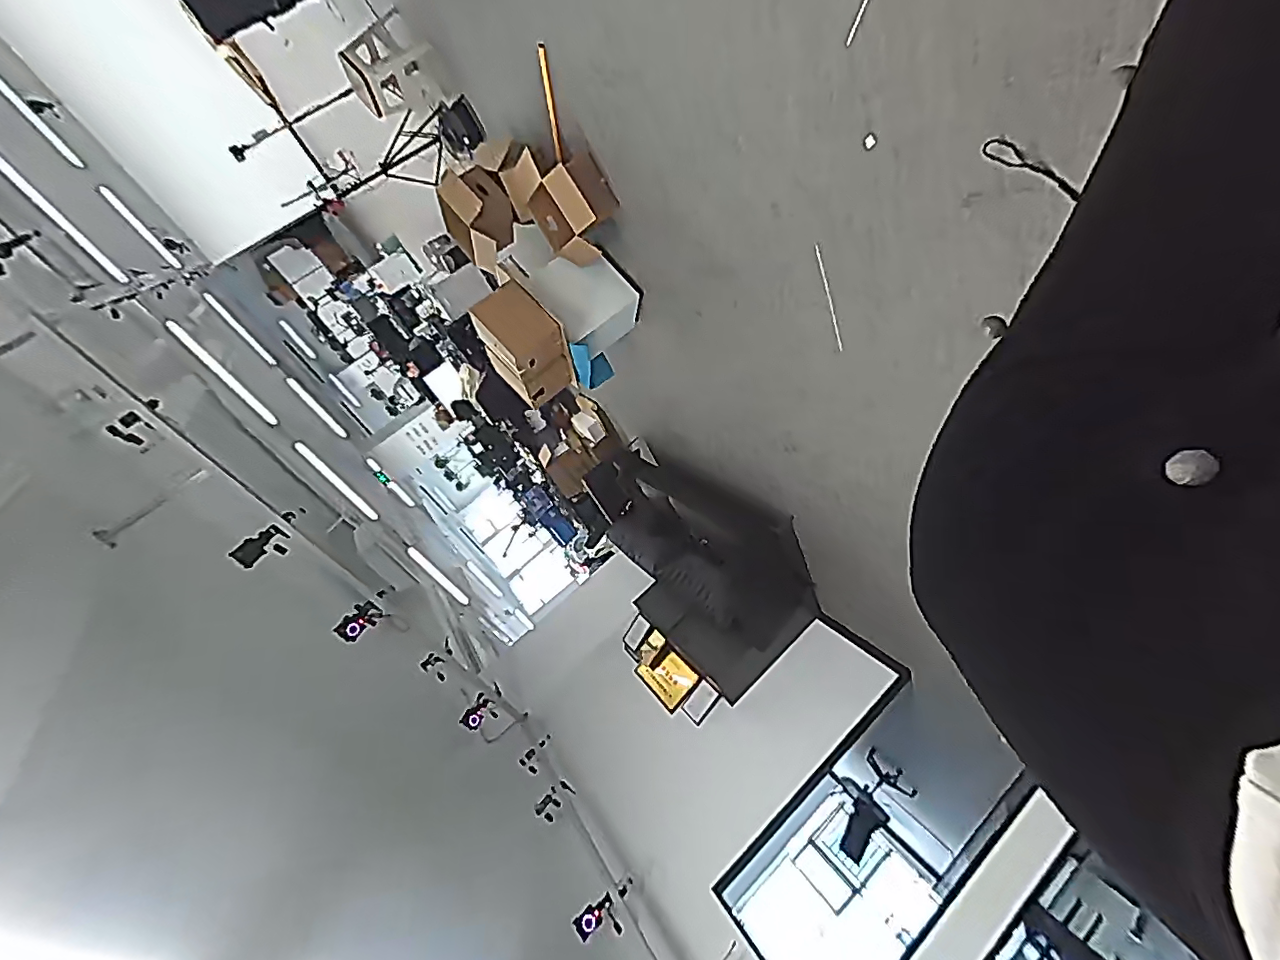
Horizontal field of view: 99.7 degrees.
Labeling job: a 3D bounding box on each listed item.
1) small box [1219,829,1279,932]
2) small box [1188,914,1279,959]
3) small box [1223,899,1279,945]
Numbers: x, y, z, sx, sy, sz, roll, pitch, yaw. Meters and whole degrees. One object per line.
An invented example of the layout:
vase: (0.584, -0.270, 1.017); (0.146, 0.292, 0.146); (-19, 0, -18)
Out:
small box: (1.589, 0.994, 1.319); (0.179, 0.176, 0.168); (33, 161, 50)
small box: (1.582, 1.279, 1.403); (0.168, 0.176, 0.179); (35, 159, 46)
small box: (1.714, 1.189, 1.450); (0.168, 0.176, 0.179); (33, 157, 54)
